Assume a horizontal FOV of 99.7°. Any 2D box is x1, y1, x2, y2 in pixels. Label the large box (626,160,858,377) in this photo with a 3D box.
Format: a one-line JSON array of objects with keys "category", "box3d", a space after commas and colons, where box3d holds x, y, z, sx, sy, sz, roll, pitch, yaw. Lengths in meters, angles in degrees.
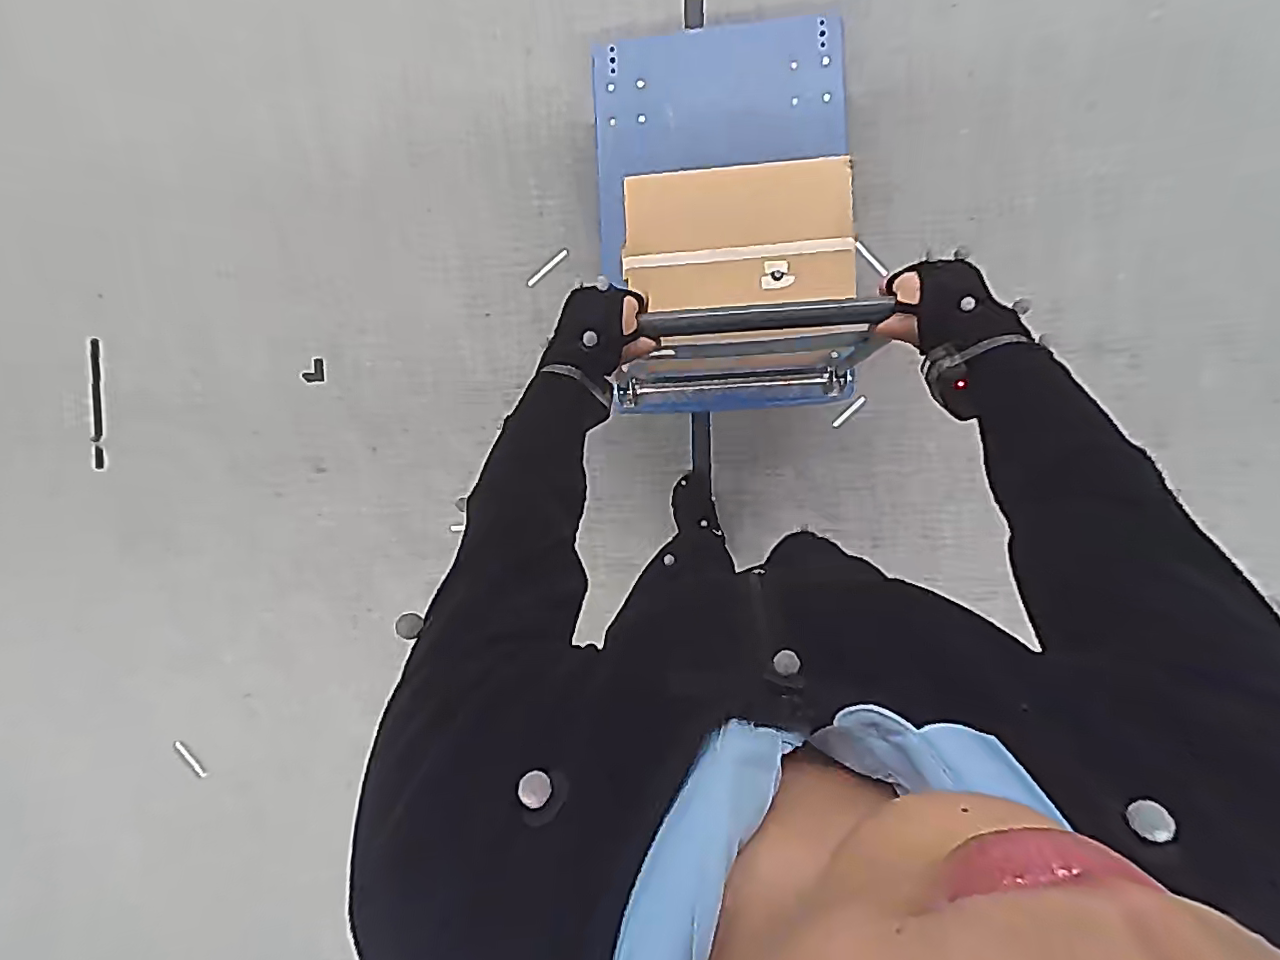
[{"category": "large box", "box3d": [0.191, -0.400, 1.111, 0.408, 0.320, 0.320, -2, 93, 5]}]
